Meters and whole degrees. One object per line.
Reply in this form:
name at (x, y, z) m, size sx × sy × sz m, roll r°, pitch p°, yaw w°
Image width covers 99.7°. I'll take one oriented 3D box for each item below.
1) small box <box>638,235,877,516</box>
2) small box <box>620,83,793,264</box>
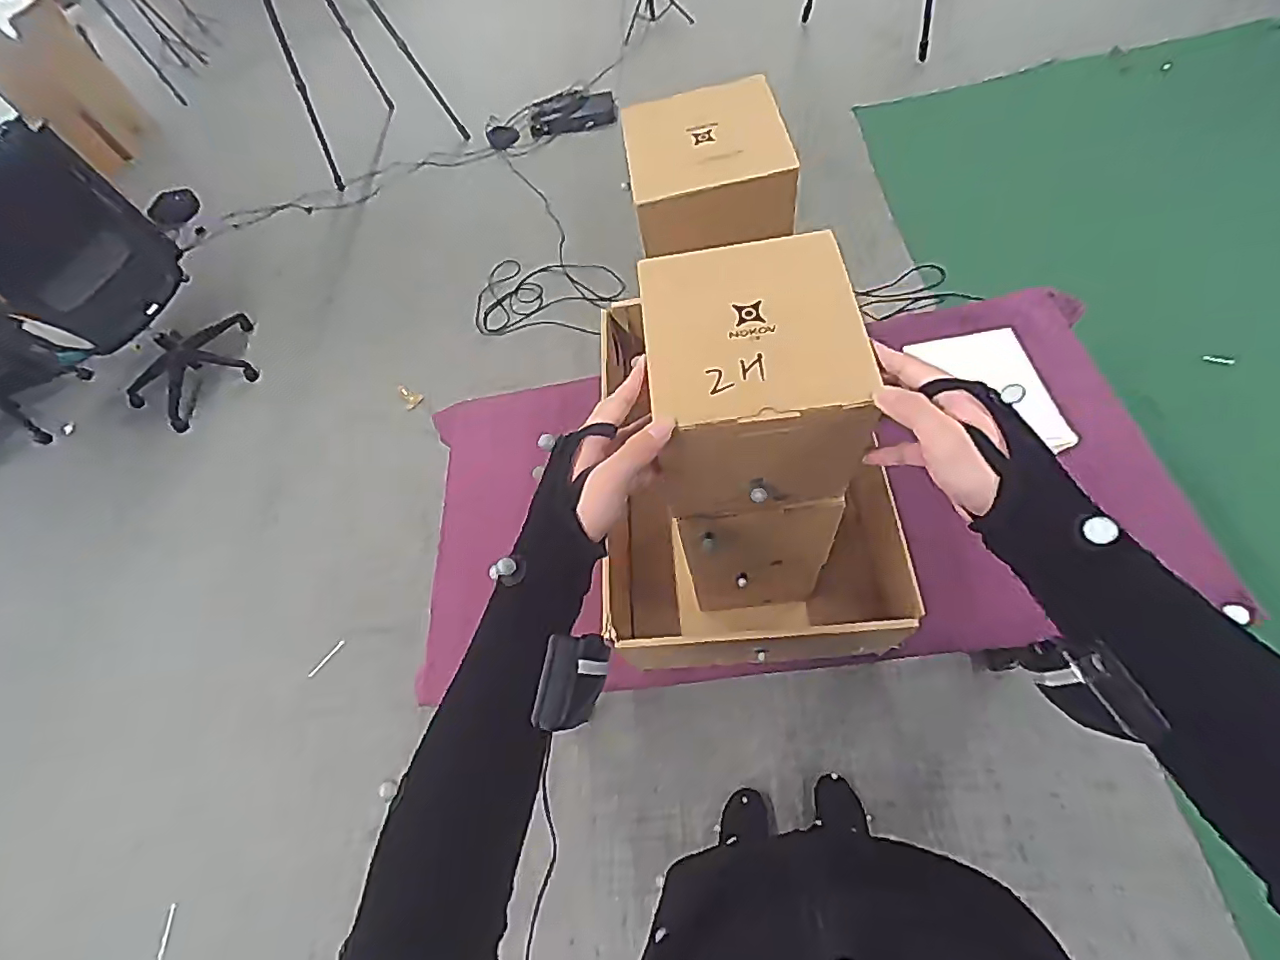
small box at (0.092, -0.085, 0.493) m, size 0.168 × 0.176 × 0.179 m, roll -7°, pitch 63°, yaw 6°
small box at (0.076, -0.321, 0.643) m, size 0.168 × 0.176 × 0.179 m, roll -9°, pitch 62°, yaw 6°
